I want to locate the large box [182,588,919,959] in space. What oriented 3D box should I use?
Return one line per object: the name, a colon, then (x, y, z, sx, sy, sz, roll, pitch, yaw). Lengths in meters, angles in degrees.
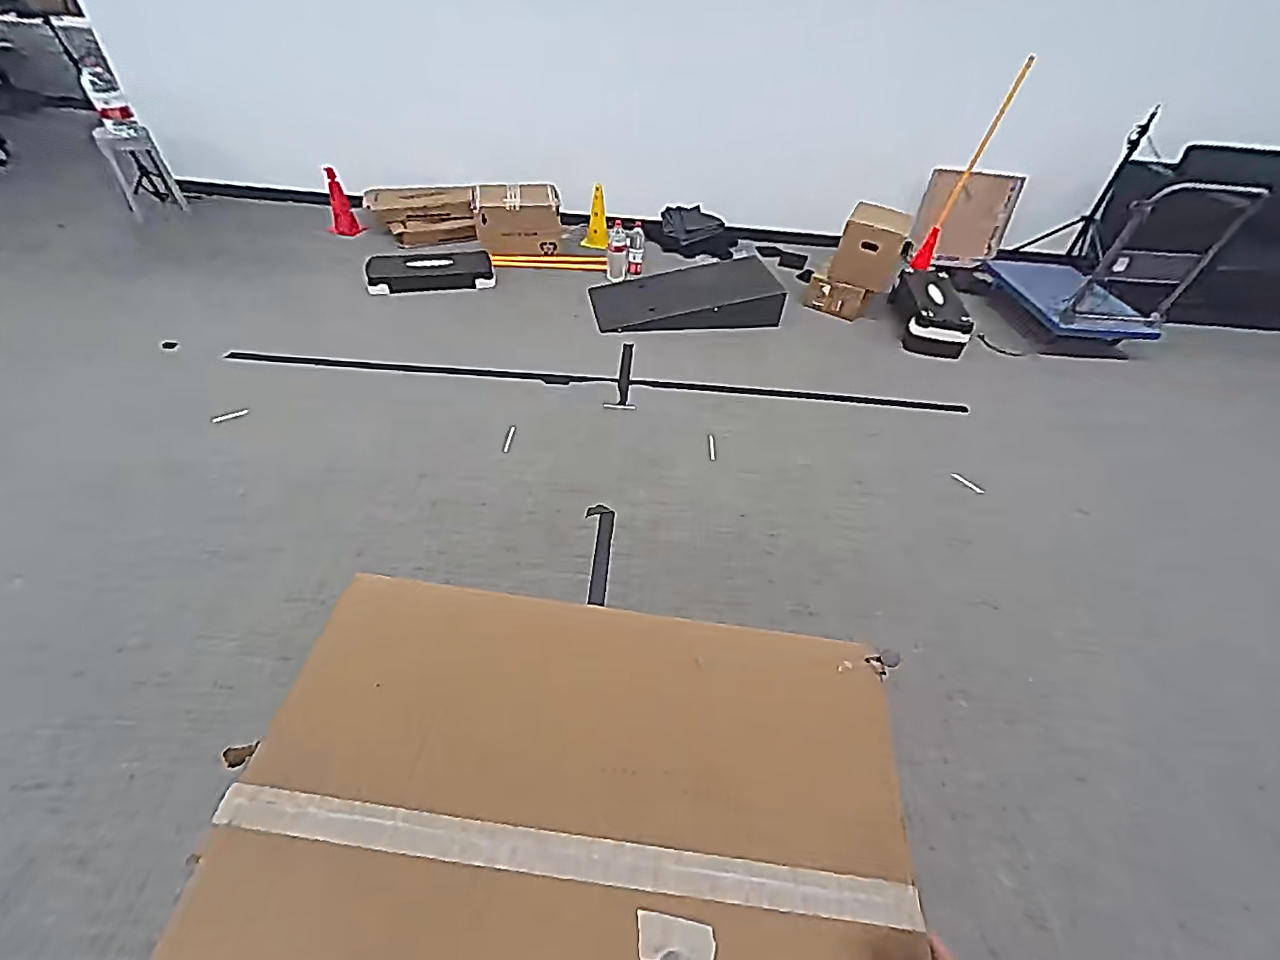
large box: (-0.047, 0.317, 0.439, 0.408, 0.320, 0.320, 8, 52, 1)
